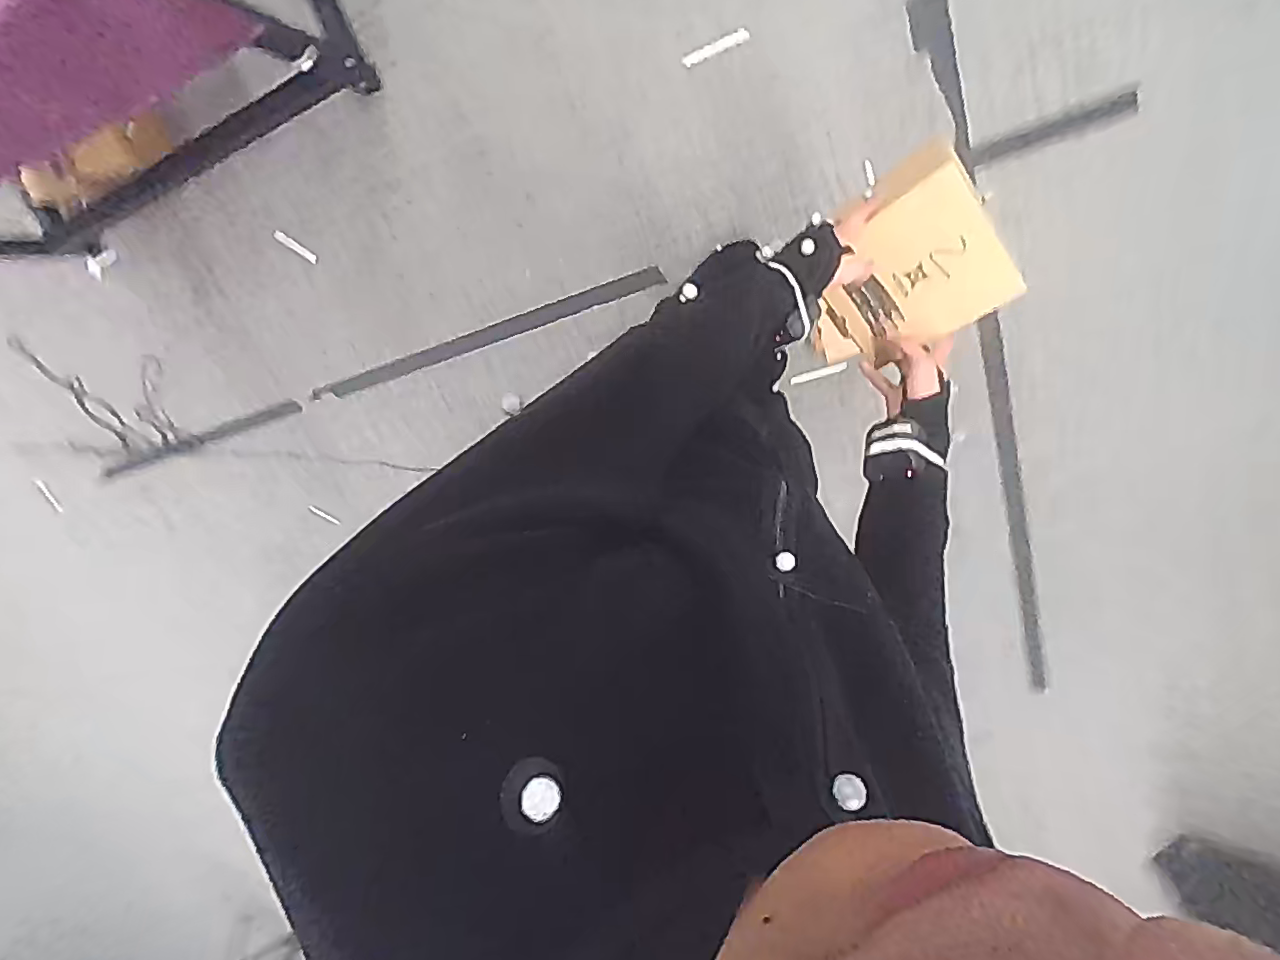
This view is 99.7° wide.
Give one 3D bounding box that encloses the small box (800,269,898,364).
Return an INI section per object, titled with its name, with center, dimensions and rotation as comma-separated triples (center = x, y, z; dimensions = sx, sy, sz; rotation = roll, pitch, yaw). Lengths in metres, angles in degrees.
[small box]
center = 0.508, -0.408, 1.333
dimensions = 0.179, 0.176, 0.168
rotation = -17, 109, 18
